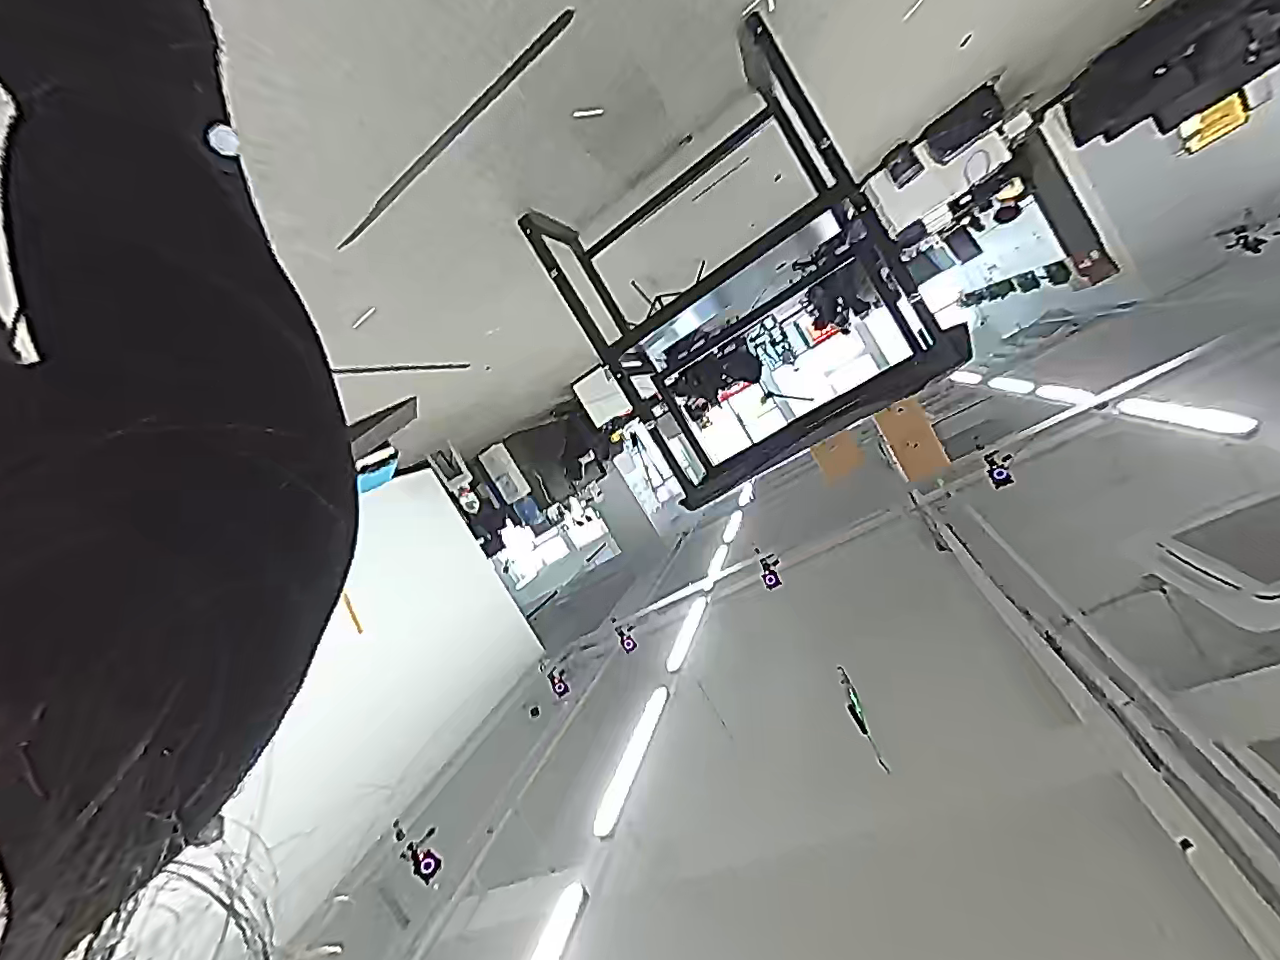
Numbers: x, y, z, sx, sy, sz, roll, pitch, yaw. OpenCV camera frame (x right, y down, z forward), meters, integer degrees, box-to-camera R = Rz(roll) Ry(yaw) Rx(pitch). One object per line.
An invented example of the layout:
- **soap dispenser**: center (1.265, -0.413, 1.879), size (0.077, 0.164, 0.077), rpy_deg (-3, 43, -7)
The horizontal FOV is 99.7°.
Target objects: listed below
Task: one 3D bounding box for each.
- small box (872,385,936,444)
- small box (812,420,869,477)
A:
- **small box**: center (1.058, -0.270, 2.179), size (0.168, 0.176, 0.179), rpy_deg (-29, -175, 22)
- **small box**: center (0.839, -0.140, 2.277), size (0.168, 0.176, 0.179), rpy_deg (-30, -175, 21)
